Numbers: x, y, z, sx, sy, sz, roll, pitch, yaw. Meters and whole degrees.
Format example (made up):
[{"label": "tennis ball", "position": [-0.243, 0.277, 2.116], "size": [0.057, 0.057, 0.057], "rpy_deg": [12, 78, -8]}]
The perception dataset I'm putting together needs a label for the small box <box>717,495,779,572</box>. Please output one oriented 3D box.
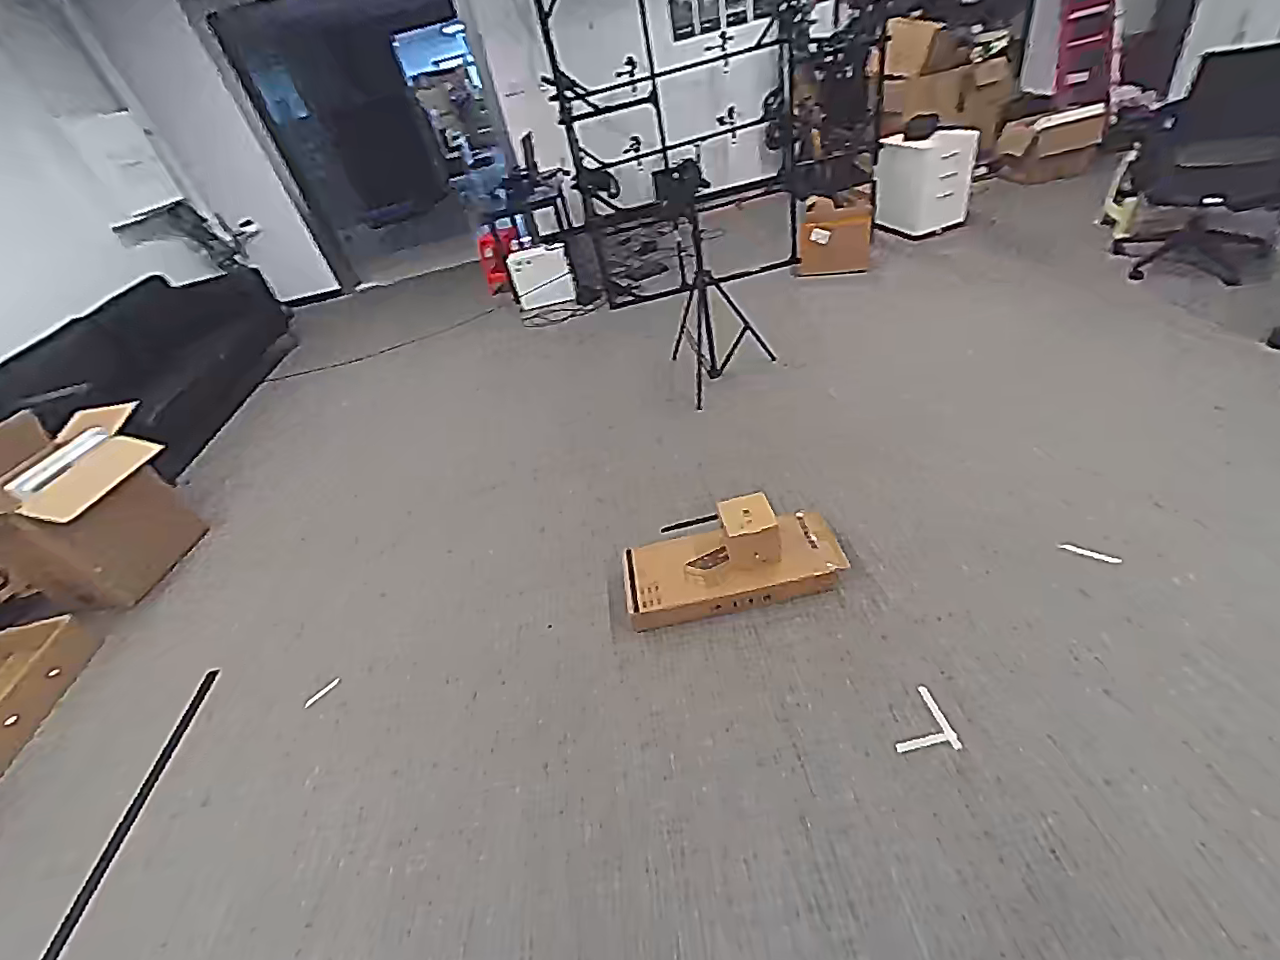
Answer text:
[{"label": "small box", "position": [0.365, 0.181, 1.831], "size": [0.168, 0.176, 0.179], "rpy_deg": [-14, 38, 2]}]
